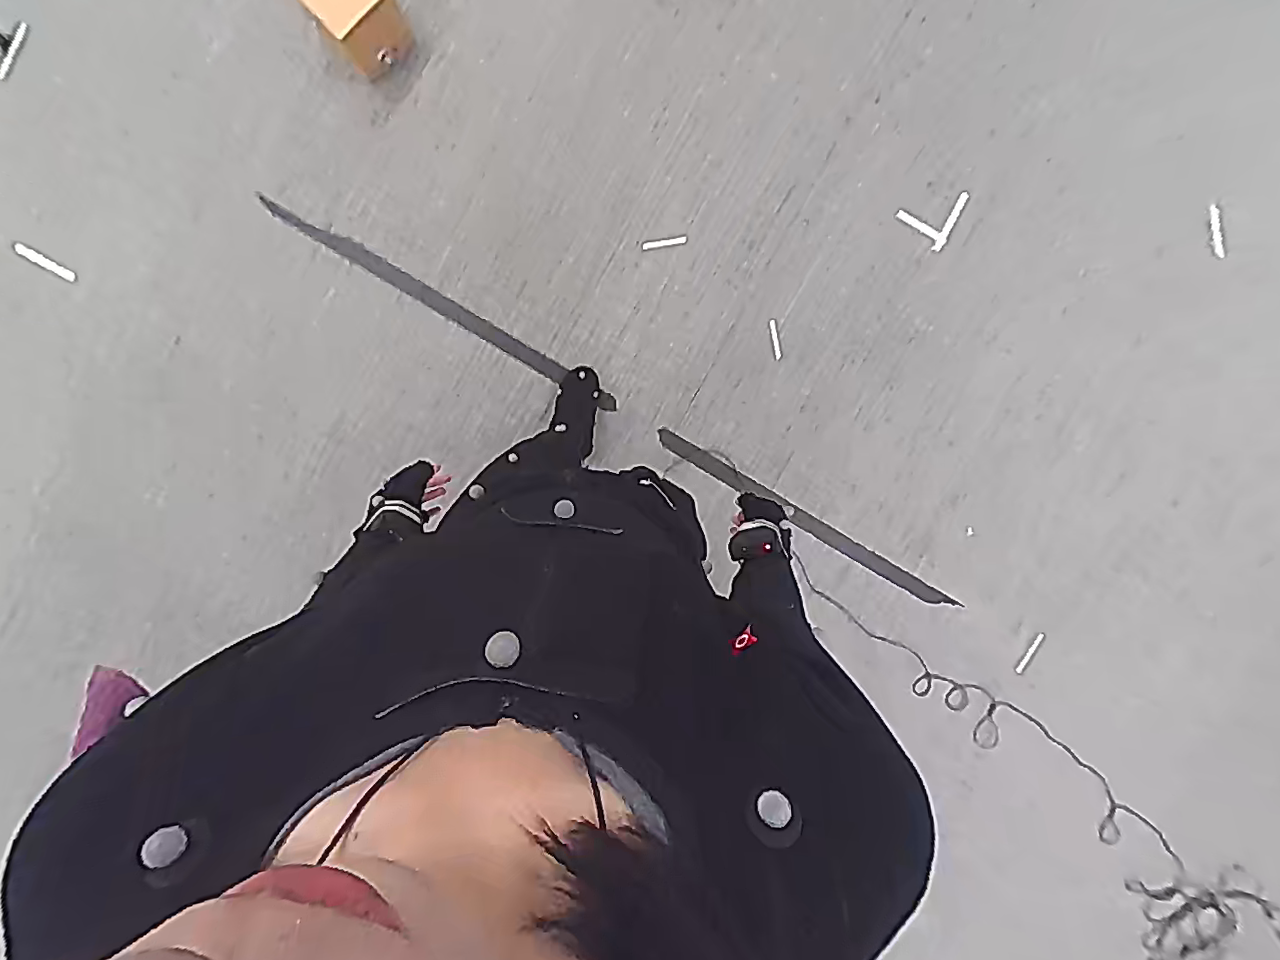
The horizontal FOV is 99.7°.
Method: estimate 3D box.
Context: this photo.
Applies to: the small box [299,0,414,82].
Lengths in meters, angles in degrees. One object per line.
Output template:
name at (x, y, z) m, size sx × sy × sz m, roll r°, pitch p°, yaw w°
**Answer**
small box at (-0.674, -1.102, 1.274) m, size 0.168 × 0.176 × 0.179 m, roll -45°, pitch 98°, yaw 2°
